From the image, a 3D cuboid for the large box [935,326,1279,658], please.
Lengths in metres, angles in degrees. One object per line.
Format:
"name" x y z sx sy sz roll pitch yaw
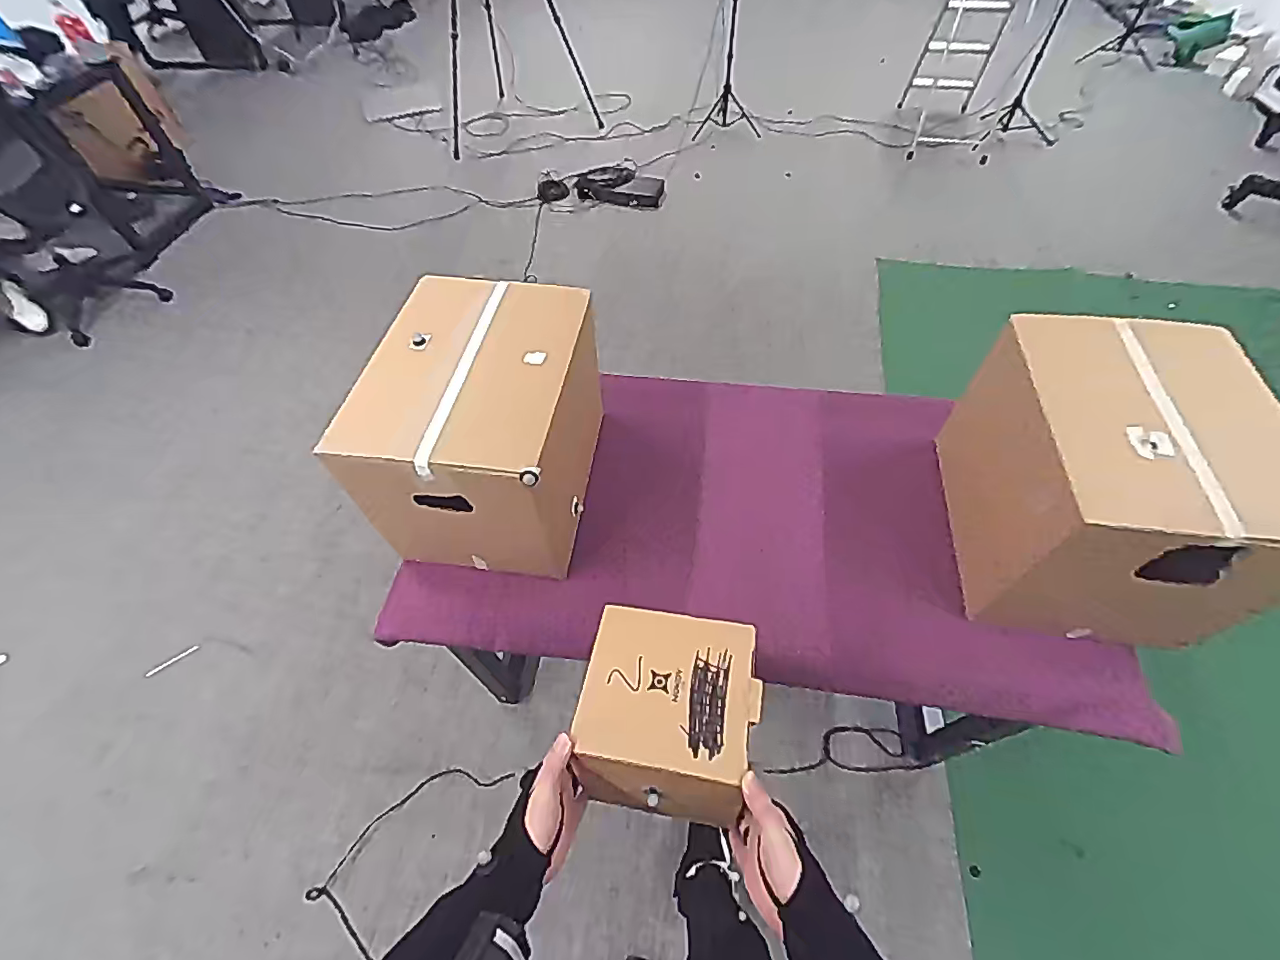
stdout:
"large box" 0.712 0.016 0.851 0.320 0.320 0.408 6 55 8
